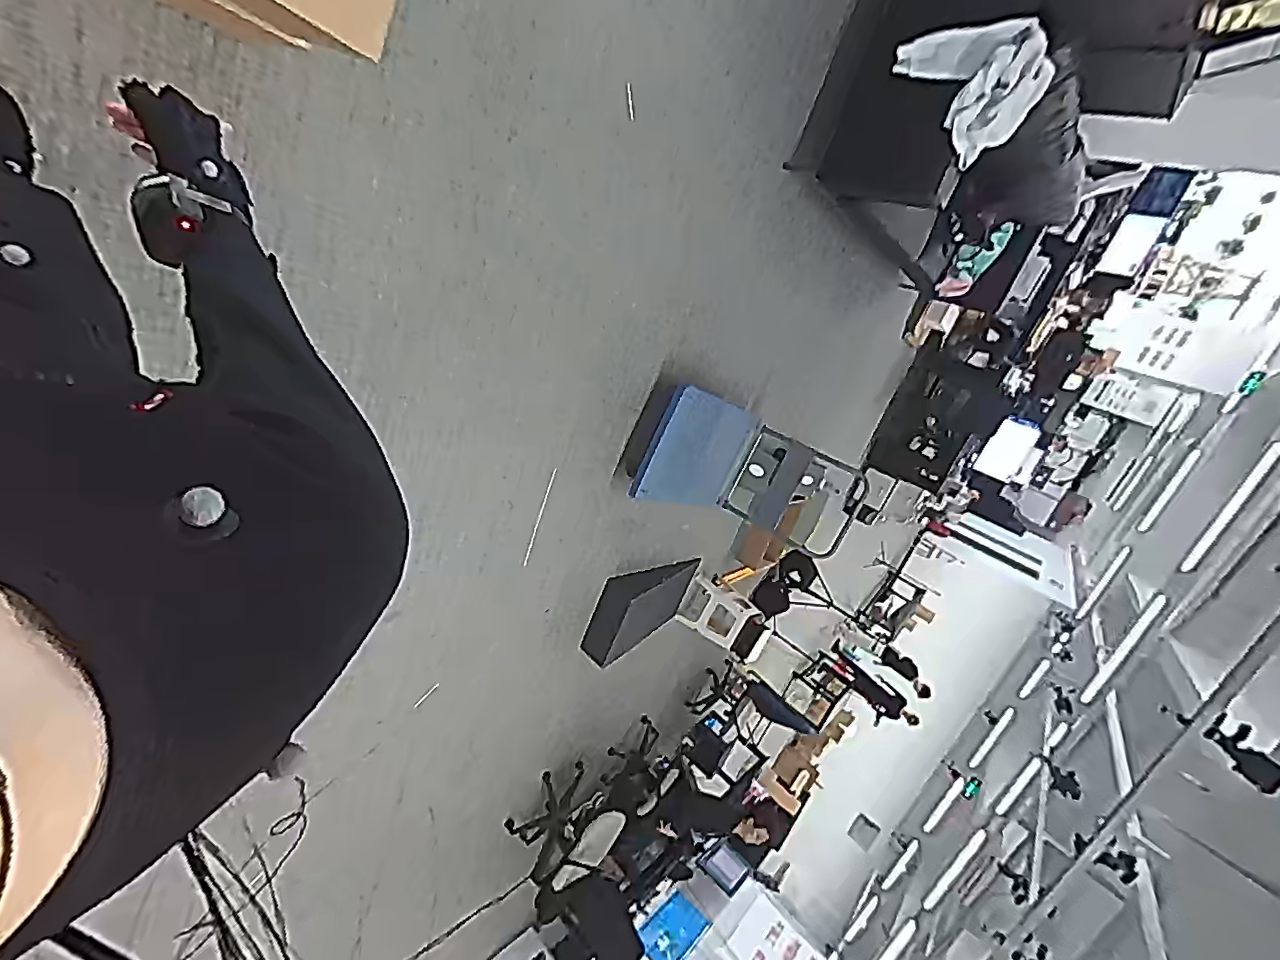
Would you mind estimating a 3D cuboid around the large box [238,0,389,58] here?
[{"bbox_3d":[-0.513,-0.769,0.599,0.408,0.320,0.320,1,121,-52],"label":"large box"}]
